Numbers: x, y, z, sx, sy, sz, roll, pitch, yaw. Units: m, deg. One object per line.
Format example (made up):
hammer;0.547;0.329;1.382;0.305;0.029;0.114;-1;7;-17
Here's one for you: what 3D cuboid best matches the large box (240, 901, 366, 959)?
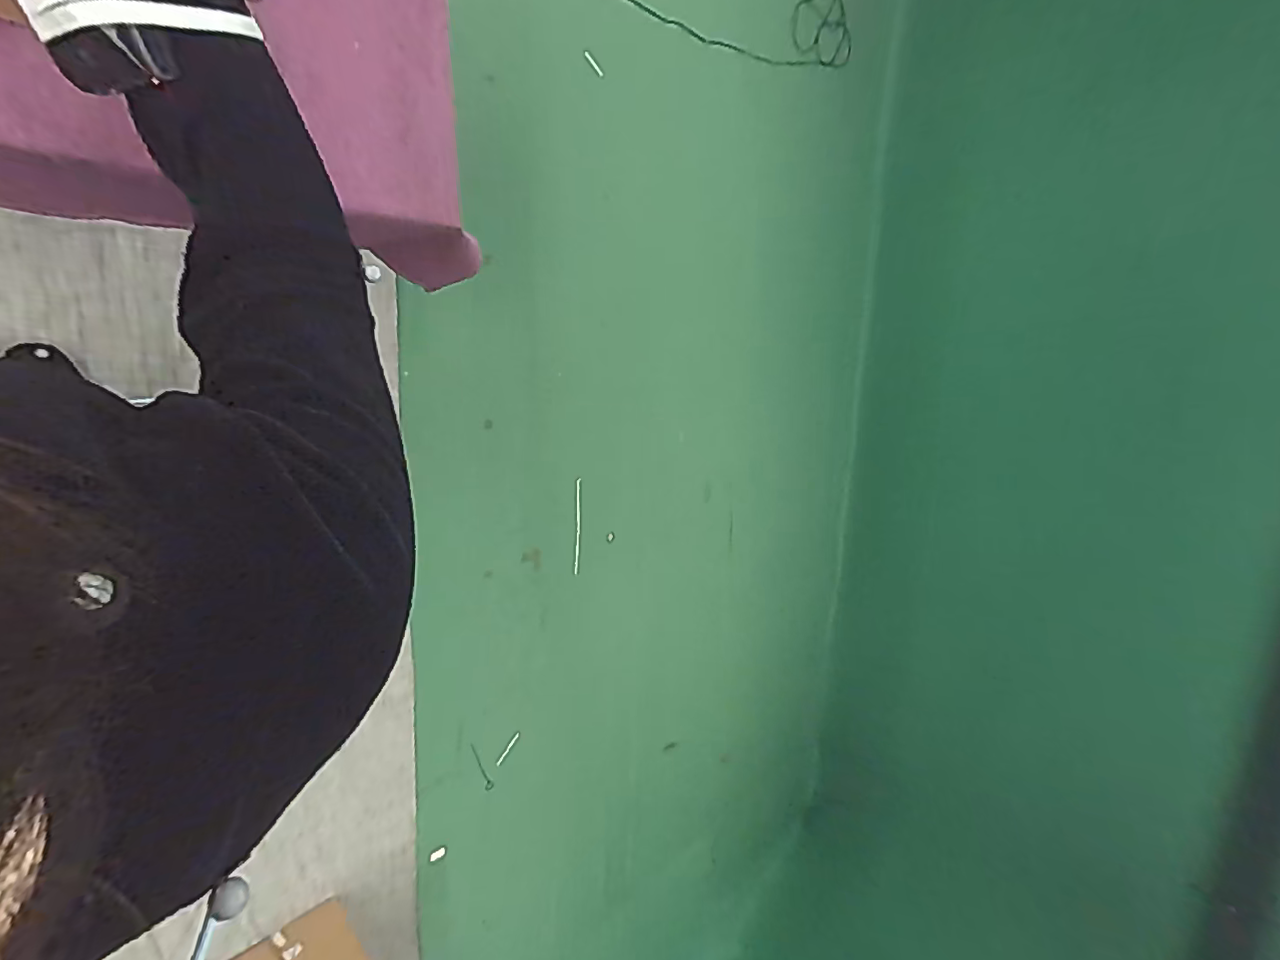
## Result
large box;-0.892;1.458;1.416;0.320;0.320;0.408;-11;107;-46
